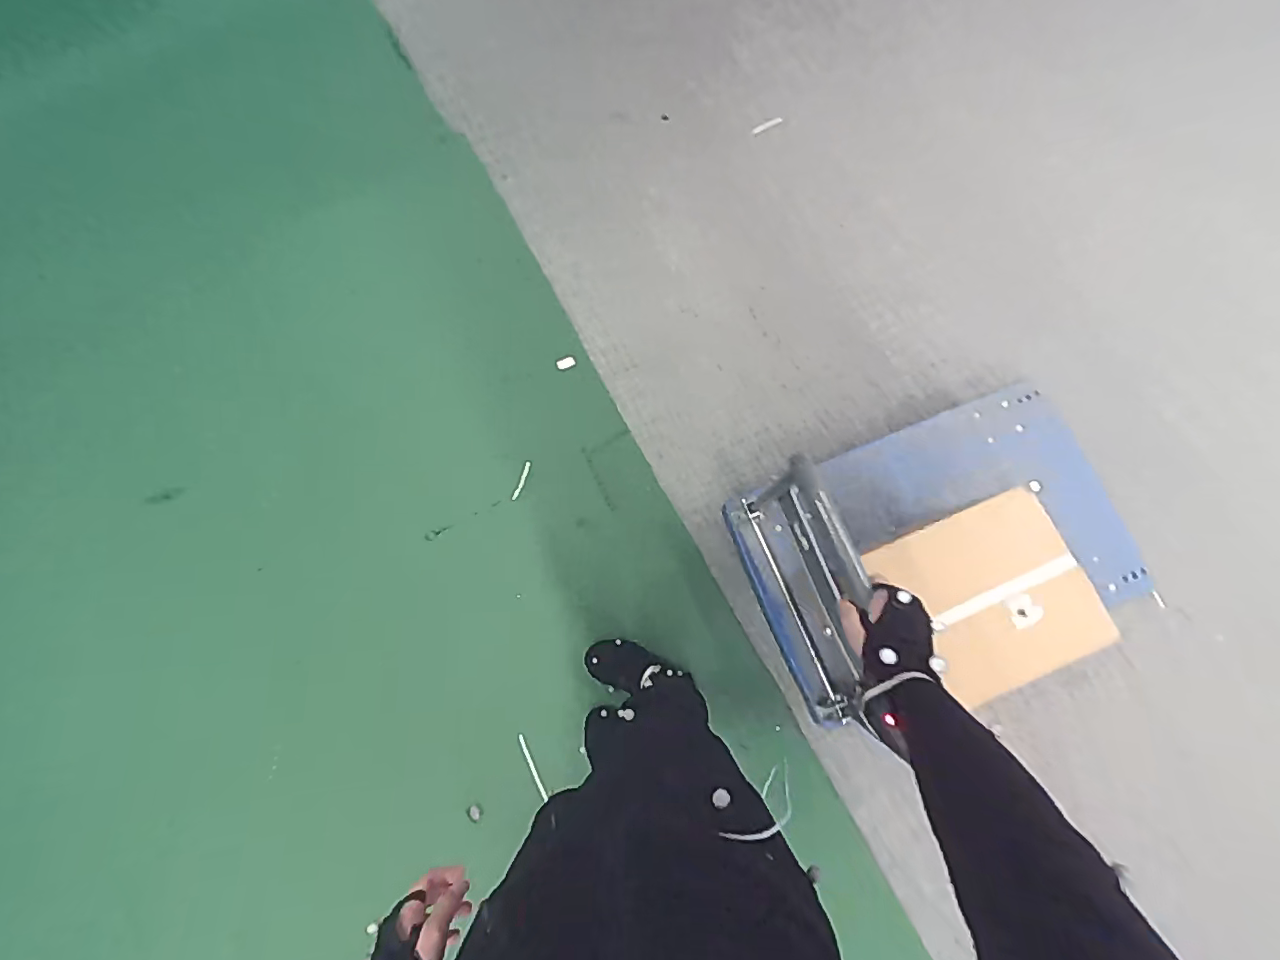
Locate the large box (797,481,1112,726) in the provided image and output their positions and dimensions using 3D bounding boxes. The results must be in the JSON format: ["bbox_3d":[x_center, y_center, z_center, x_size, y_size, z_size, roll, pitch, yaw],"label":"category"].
[{"bbox_3d":[0.608,0.249,1.127,0.408,0.320,0.320,-23,79,-4],"label":"large box"}]
